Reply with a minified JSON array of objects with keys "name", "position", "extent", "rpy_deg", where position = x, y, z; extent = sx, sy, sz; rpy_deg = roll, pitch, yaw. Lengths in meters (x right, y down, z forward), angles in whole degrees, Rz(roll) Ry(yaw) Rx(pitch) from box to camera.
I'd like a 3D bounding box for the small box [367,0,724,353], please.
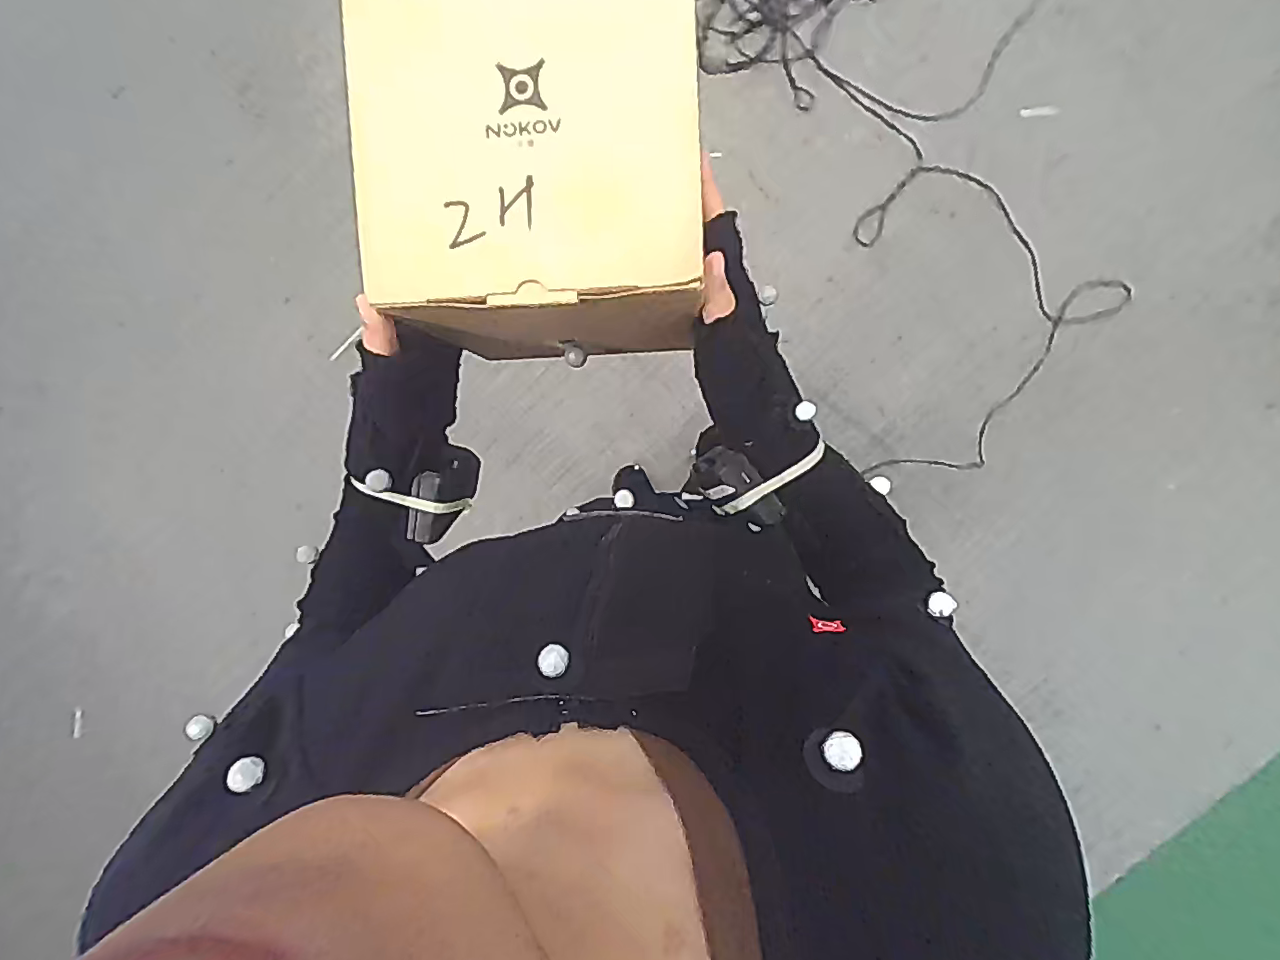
[{"name":"small box","position":[-0.039,-0.182,0.327],"extent":[0.168,0.176,0.179],"rpy_deg":[-1,93,5]}]
